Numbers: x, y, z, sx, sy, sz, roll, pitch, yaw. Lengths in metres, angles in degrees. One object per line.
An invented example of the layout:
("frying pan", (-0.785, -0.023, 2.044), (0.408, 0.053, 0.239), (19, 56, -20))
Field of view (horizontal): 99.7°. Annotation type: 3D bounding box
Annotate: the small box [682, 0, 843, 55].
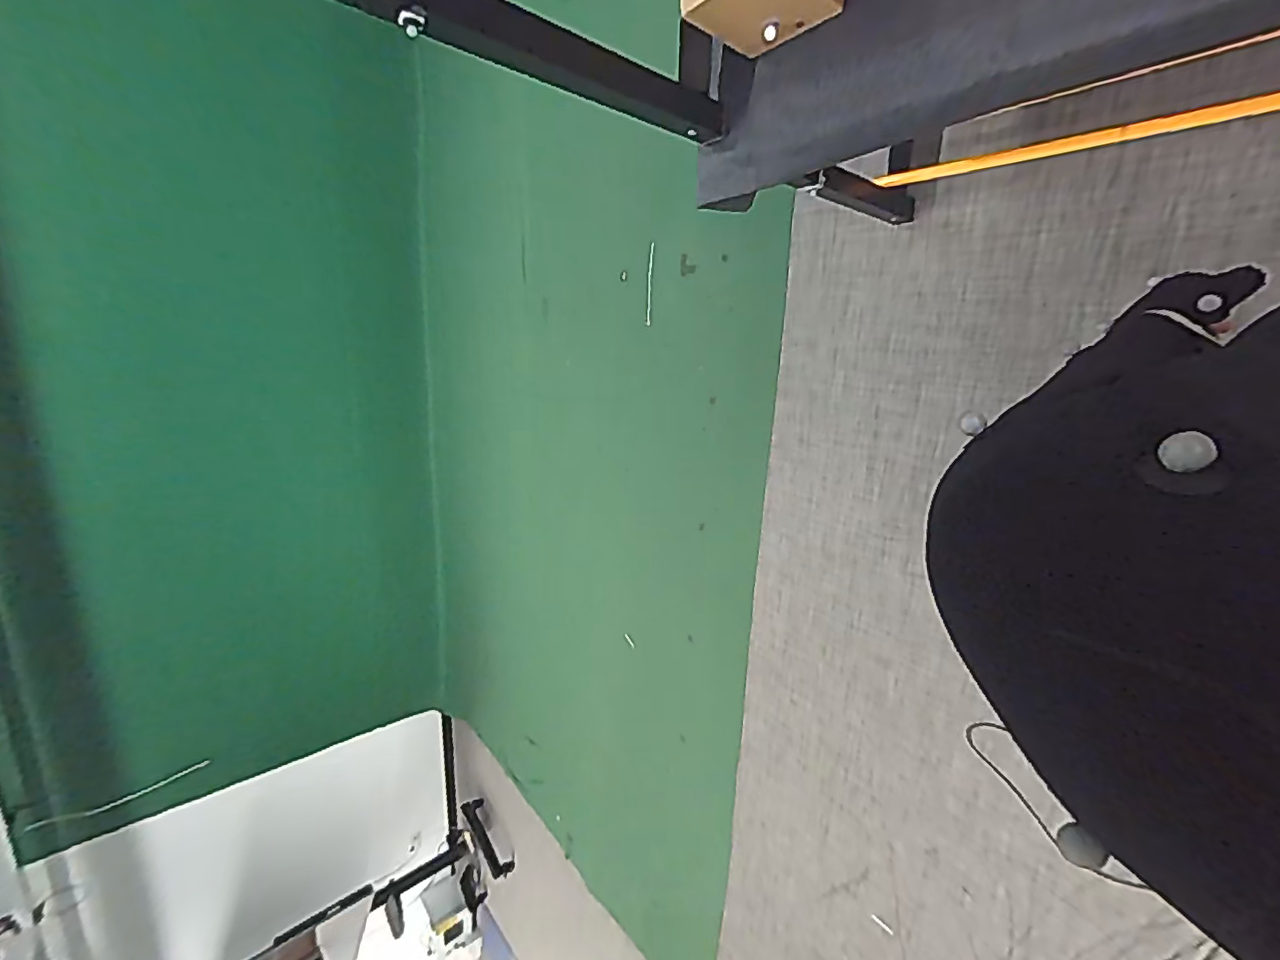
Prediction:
("small box", (0.177, -0.751, 0.756), (0.168, 0.176, 0.179), (14, 107, 48))
